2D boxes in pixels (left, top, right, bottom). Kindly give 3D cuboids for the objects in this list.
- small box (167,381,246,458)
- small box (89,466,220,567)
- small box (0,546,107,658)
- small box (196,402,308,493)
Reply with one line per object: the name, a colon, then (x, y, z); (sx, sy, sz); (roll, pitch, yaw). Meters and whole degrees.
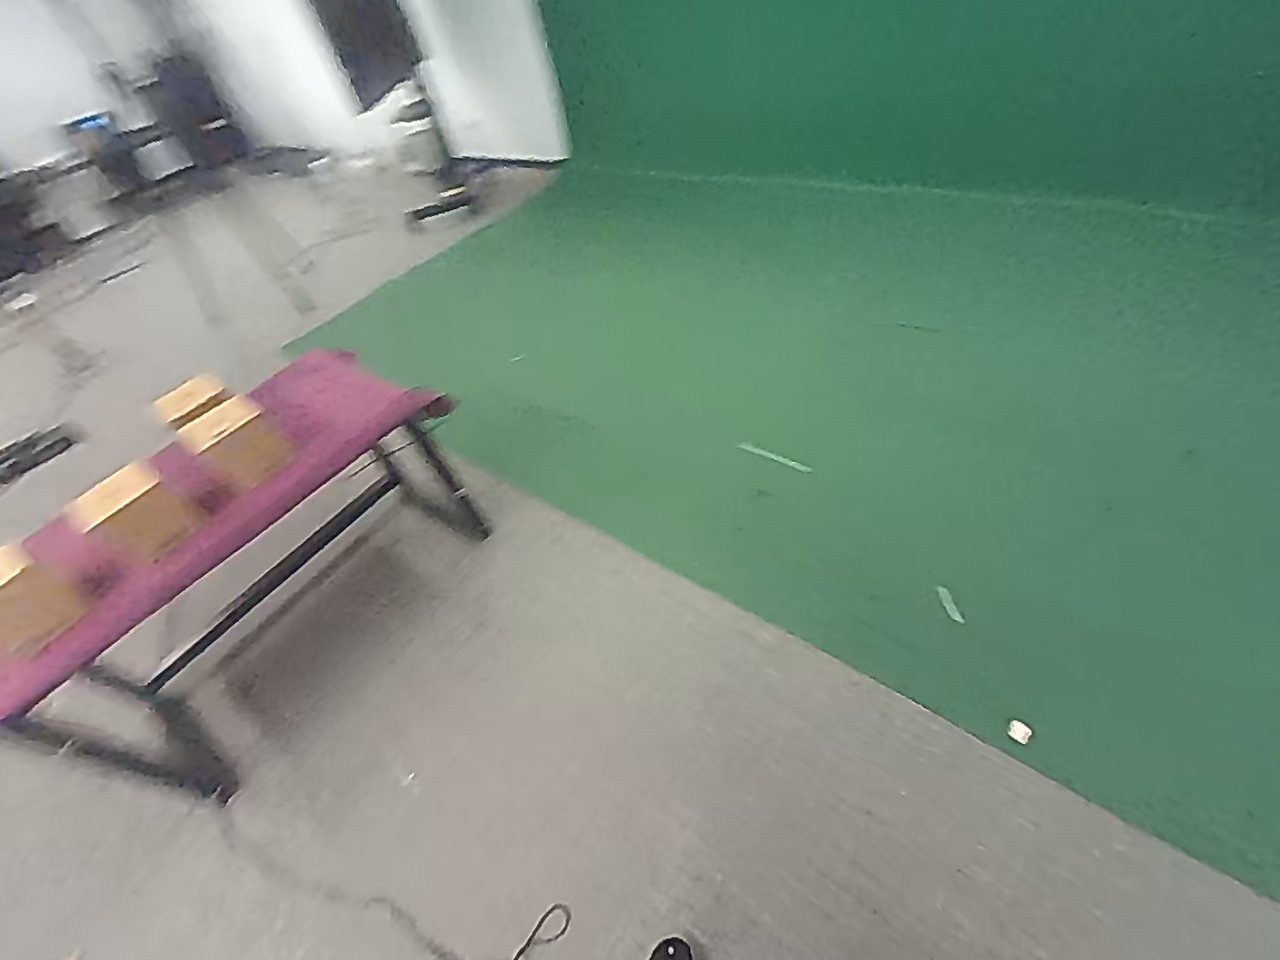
small box: (-1.281, -0.173, 1.656); (0.179, 0.176, 0.168); (25, 59, 32)
small box: (-1.251, 0.097, 1.400); (0.179, 0.176, 0.168); (24, 59, 32)
small box: (-1.414, 0.289, 1.263); (0.179, 0.176, 0.168); (19, 55, 32)
small box: (-1.089, -0.089, 1.525); (0.179, 0.176, 0.168); (25, 59, 33)
